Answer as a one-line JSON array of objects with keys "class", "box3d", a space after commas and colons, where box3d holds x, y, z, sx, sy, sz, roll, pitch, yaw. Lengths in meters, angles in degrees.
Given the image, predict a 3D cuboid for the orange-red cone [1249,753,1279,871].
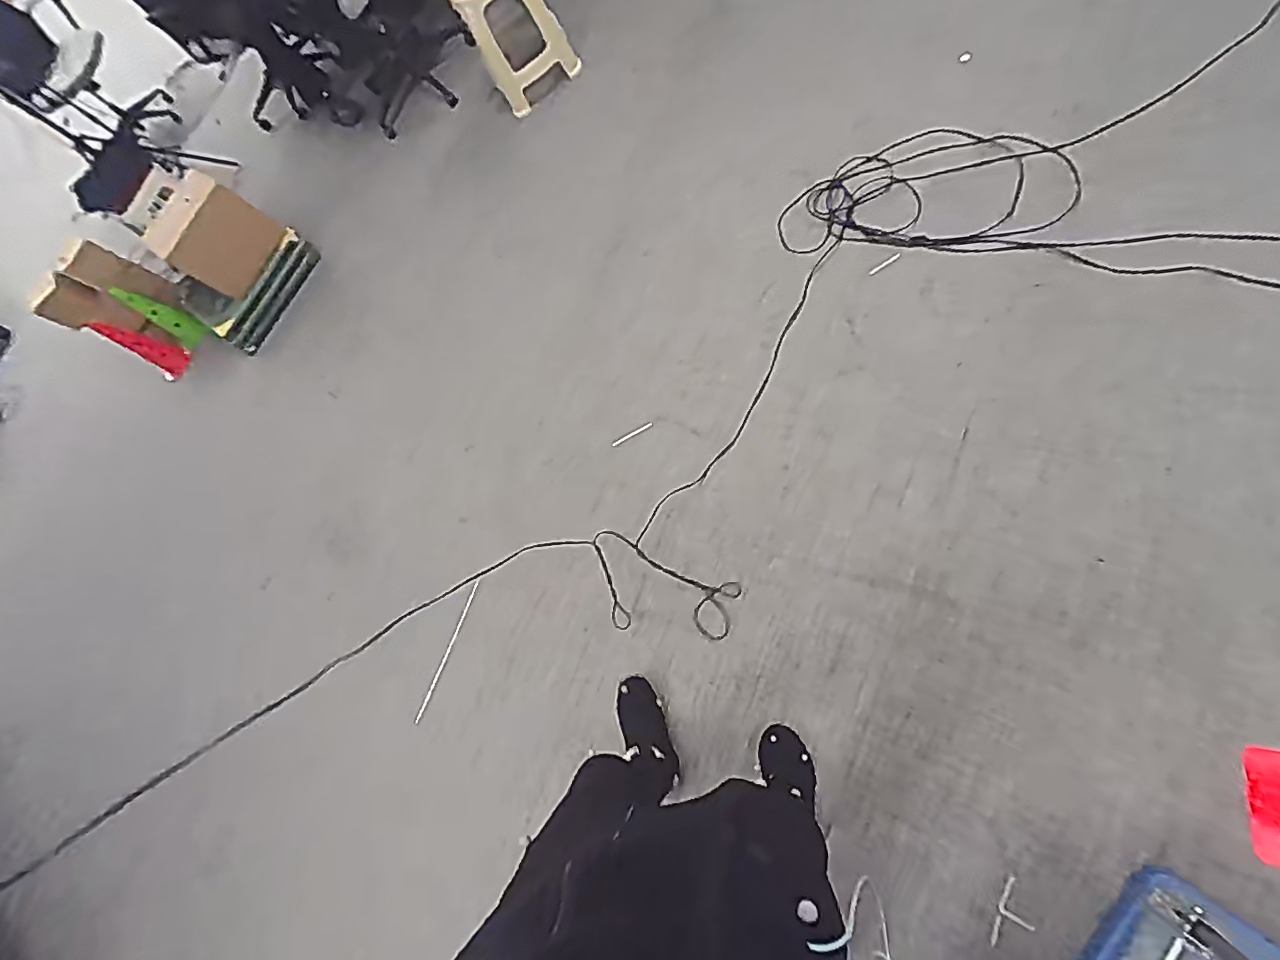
[{"class": "orange-red cone", "box3d": [1.156, 0.556, 0.803, 0.198, 0.360, 0.199, 4, 74, 22]}]
